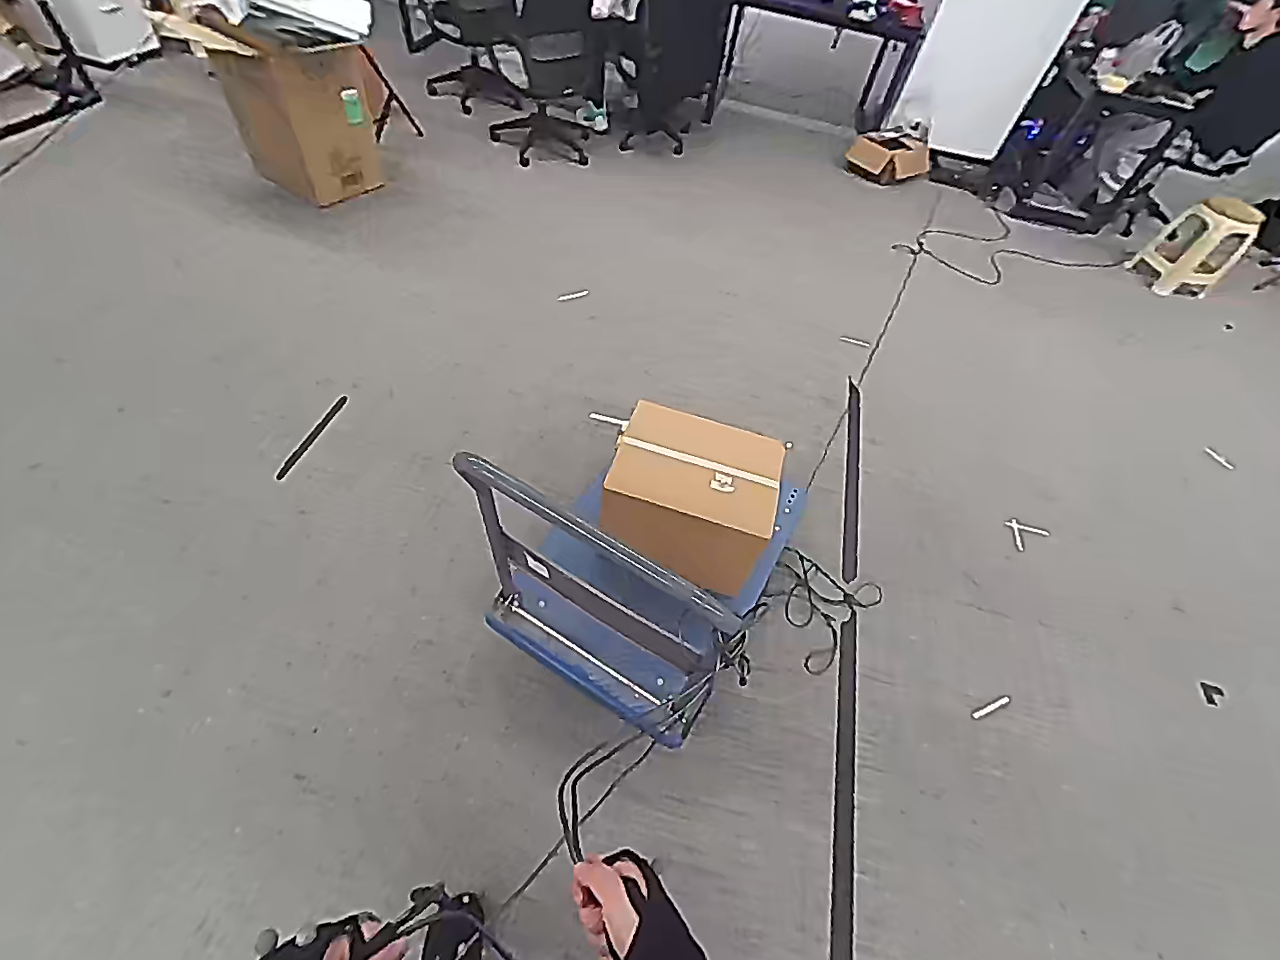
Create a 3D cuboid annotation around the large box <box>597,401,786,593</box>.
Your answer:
[{"bbox_3d":[0.127,0.049,1.432,0.408,0.320,0.320,18,54,4],"label":"large box"}]
